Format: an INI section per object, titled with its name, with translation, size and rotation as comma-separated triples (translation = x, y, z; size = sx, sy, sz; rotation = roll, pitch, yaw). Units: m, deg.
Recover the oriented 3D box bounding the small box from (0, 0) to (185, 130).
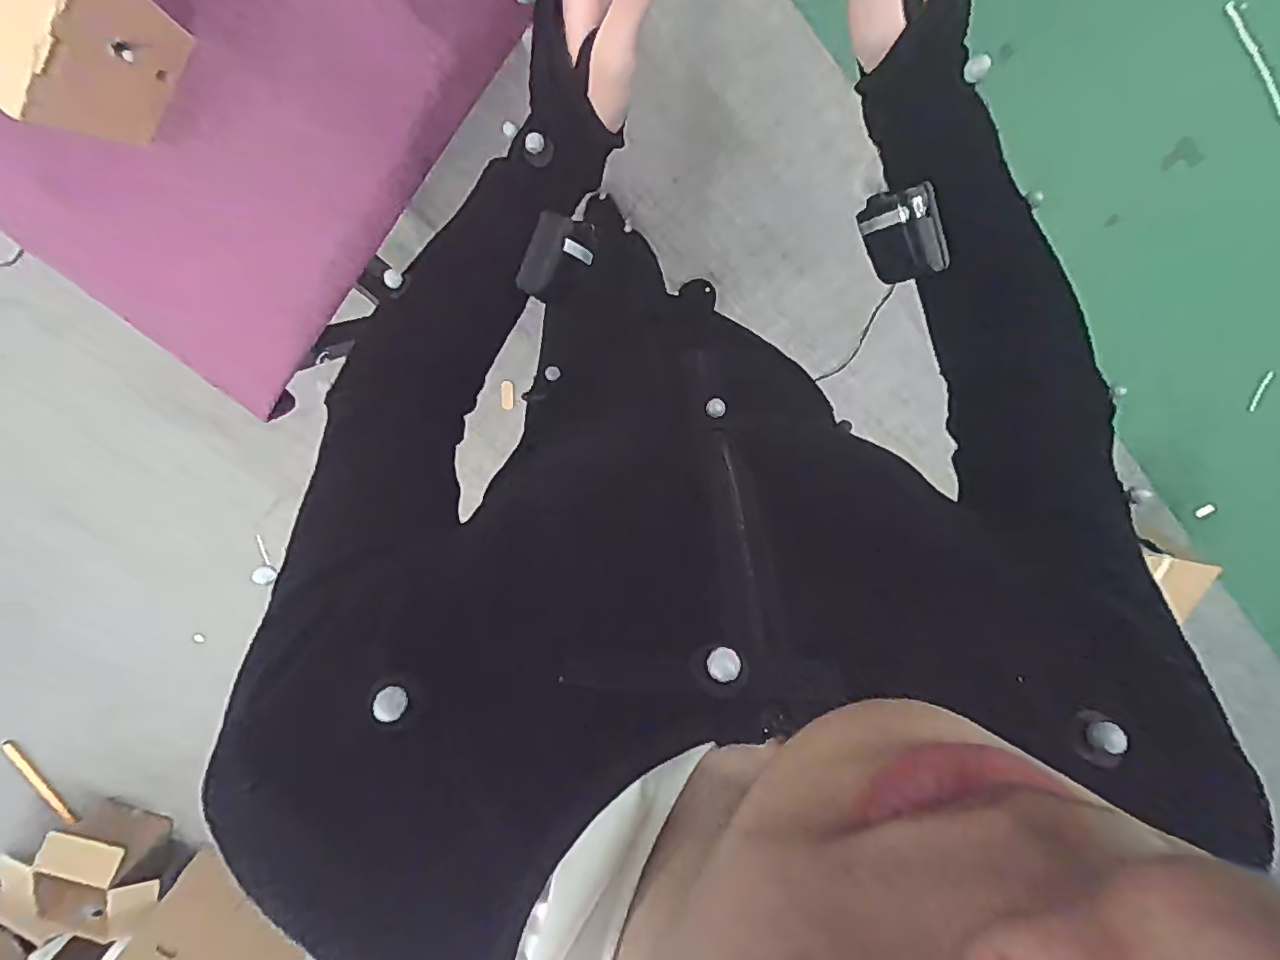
[small box]
translation = -0.693, -0.543, 0.623
size = 0.179, 0.176, 0.168
rotation = 41, 108, -14
